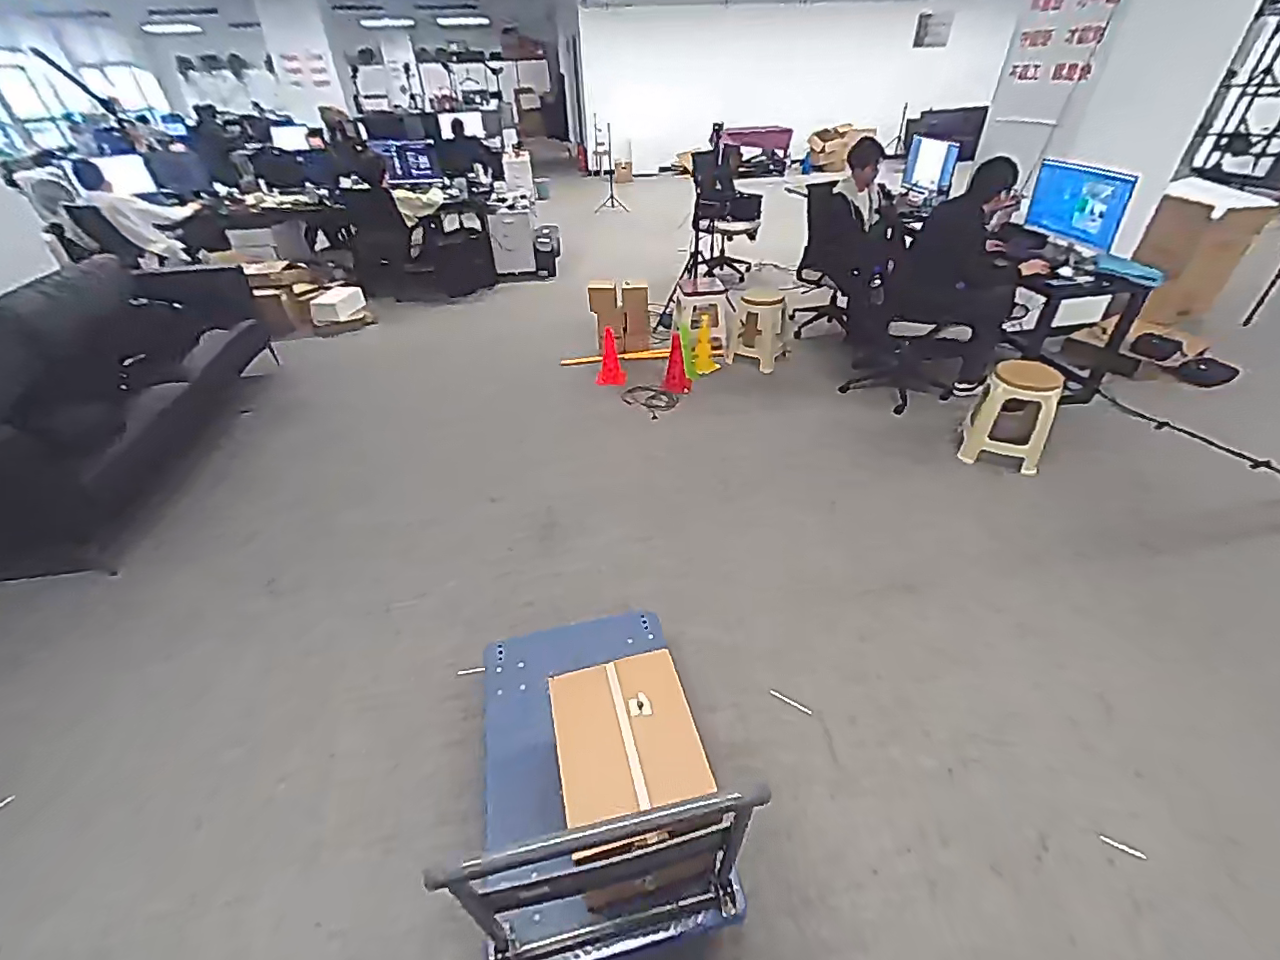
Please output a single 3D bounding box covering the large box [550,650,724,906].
[{"bbox_3d":[-0.018,0.699,1.301,0.320,0.320,0.408,-10,37,-11],"label":"large box"}]
